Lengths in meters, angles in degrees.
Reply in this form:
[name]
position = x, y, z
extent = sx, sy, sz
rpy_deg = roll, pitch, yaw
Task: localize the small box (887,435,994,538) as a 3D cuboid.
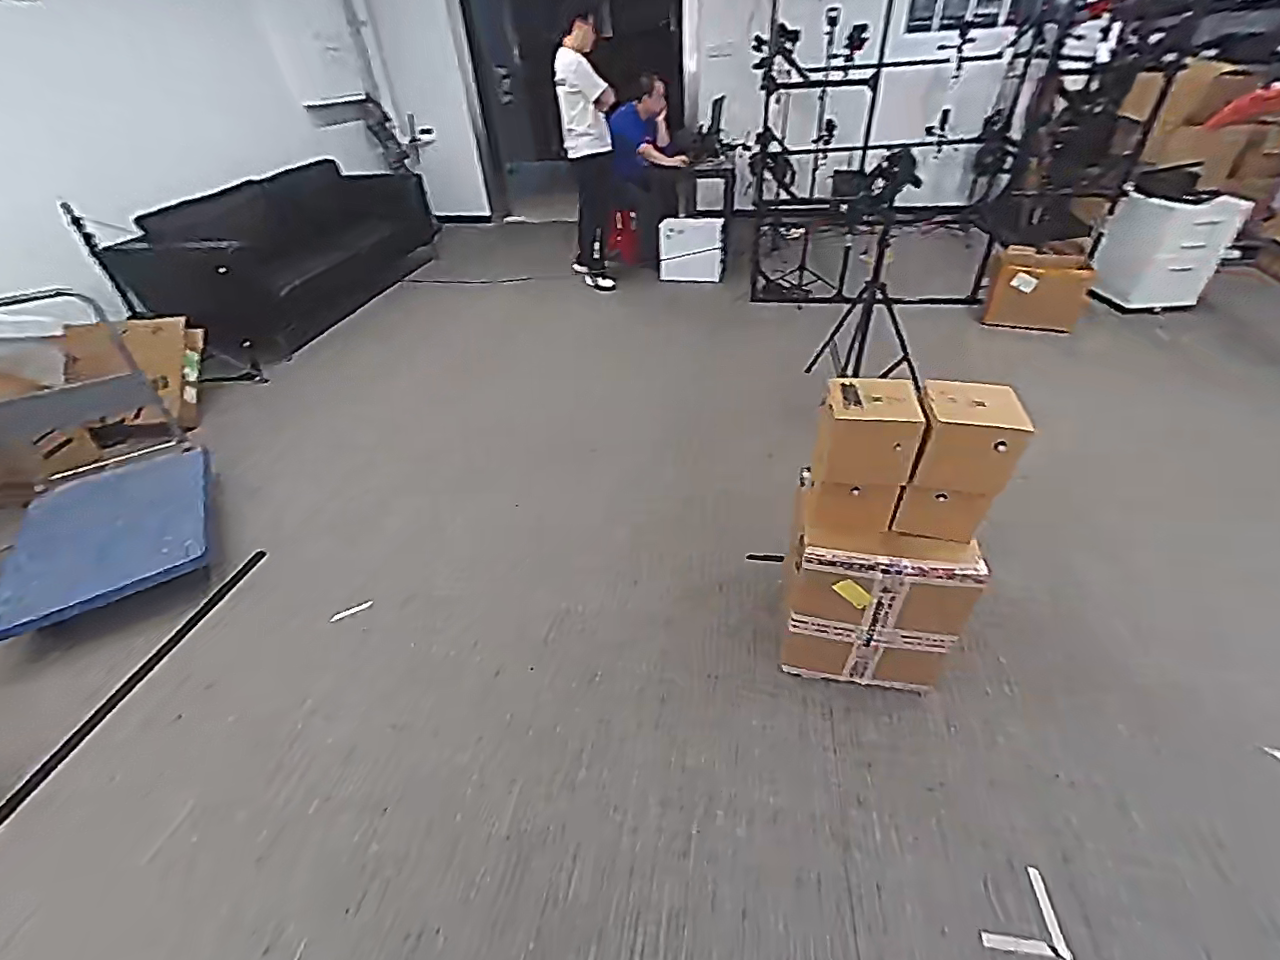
[small box]
position = 0.690, 0.016, 1.268
extent = 0.179, 0.176, 0.168
rpy_deg = 9, 42, 13
